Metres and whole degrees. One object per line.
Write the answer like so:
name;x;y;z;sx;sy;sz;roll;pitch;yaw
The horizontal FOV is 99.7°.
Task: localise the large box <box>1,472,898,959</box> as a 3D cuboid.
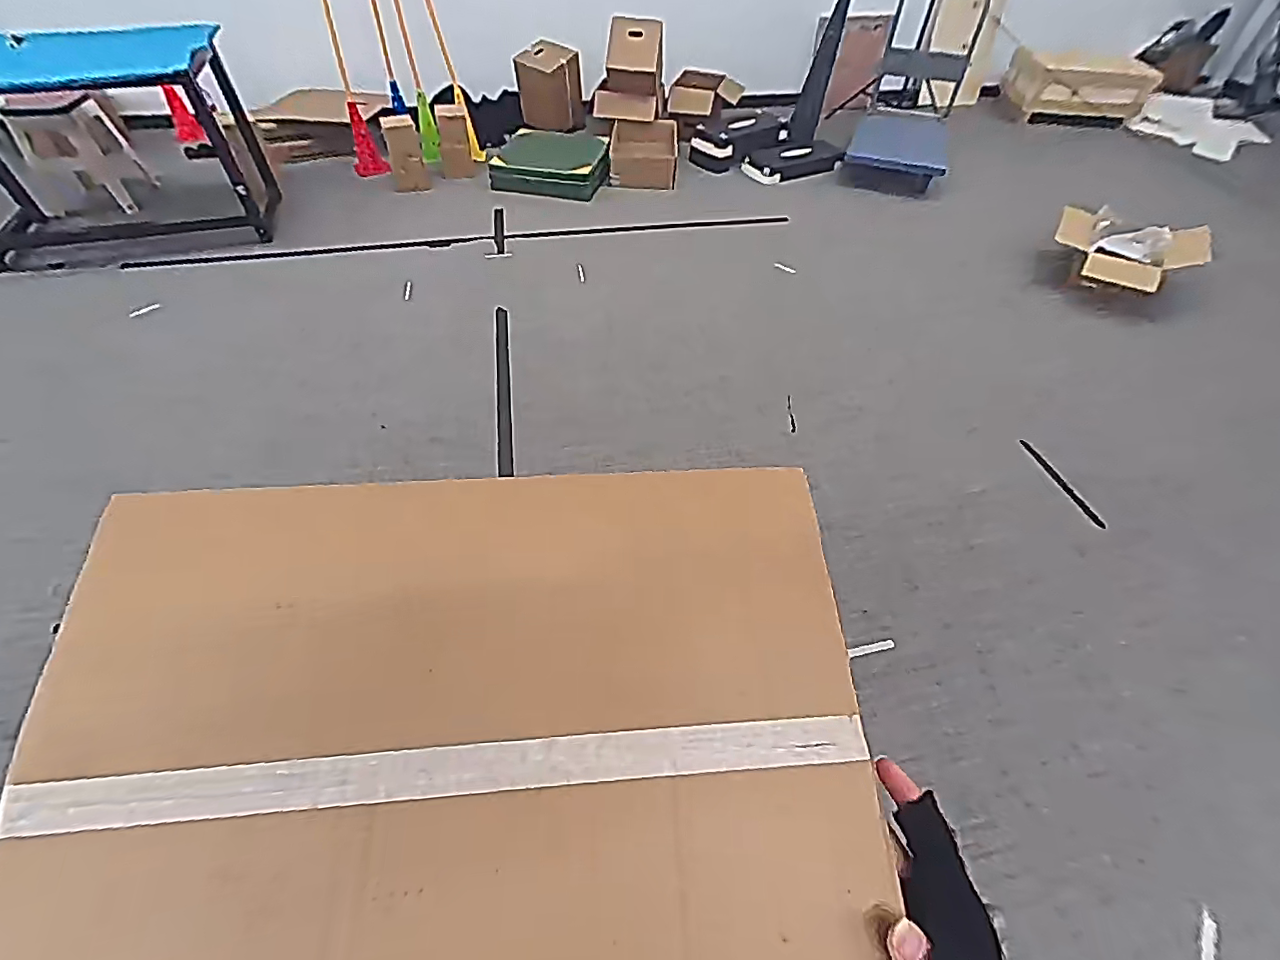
large box;-0.094;0.206;0.412;0.408;0.320;0.320;-3;67;-5
